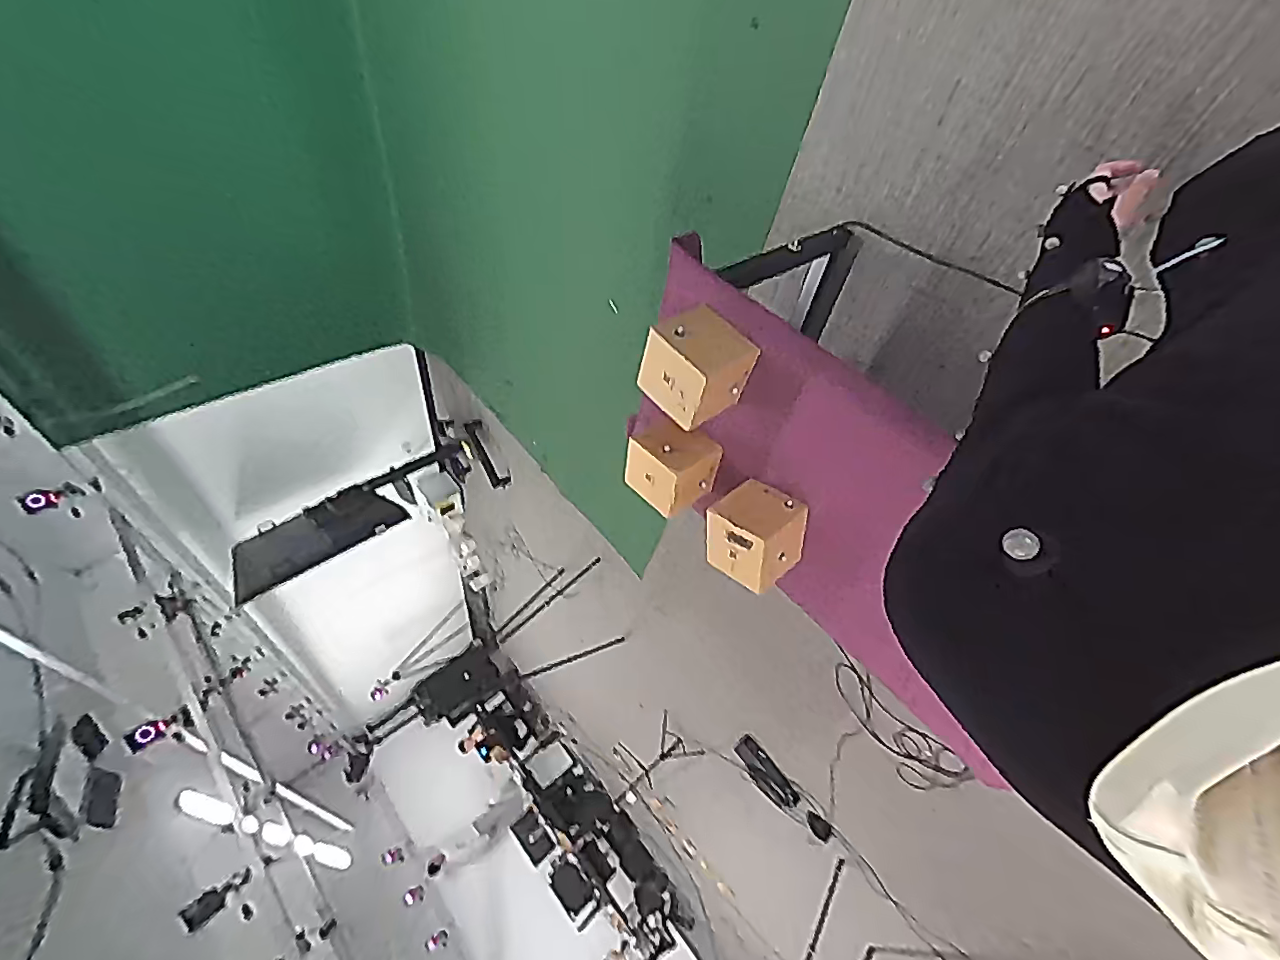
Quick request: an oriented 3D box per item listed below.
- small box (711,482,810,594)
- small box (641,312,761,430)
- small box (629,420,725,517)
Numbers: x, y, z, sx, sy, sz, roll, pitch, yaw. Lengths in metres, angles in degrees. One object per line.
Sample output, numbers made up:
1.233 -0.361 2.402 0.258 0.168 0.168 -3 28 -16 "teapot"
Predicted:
0.288 0.131 1.301 0.168 0.176 0.179 31 140 39 "small box"
0.131 -0.247 1.194 0.179 0.176 0.168 46 149 20 "small box"
0.096 -0.040 1.434 0.179 0.176 0.168 40 144 27 "small box"
